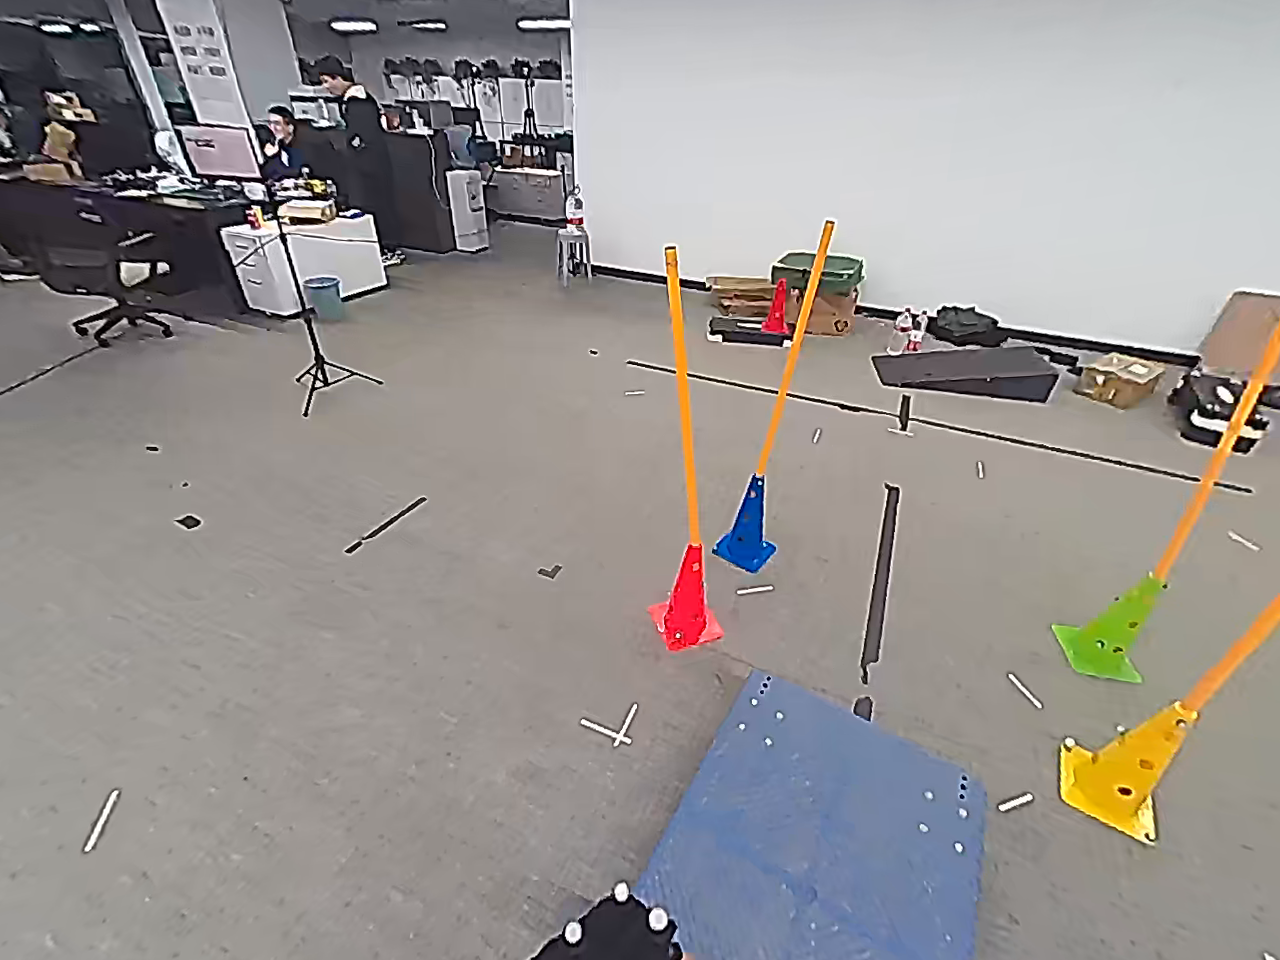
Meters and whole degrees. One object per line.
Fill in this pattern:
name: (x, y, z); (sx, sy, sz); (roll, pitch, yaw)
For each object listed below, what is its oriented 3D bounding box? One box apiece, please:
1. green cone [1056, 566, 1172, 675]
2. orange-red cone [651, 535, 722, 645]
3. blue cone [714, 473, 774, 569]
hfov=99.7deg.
green cone: (1.508, 0.402, 1.671); (0.200, 0.368, 0.202); (8, 36, 8)
orange-red cone: (0.163, 0.320, 1.714); (0.199, 0.360, 0.198); (-9, 37, -18)
blue cone: (0.414, 0.131, 2.027); (0.193, 0.380, 0.192); (26, 42, 30)
